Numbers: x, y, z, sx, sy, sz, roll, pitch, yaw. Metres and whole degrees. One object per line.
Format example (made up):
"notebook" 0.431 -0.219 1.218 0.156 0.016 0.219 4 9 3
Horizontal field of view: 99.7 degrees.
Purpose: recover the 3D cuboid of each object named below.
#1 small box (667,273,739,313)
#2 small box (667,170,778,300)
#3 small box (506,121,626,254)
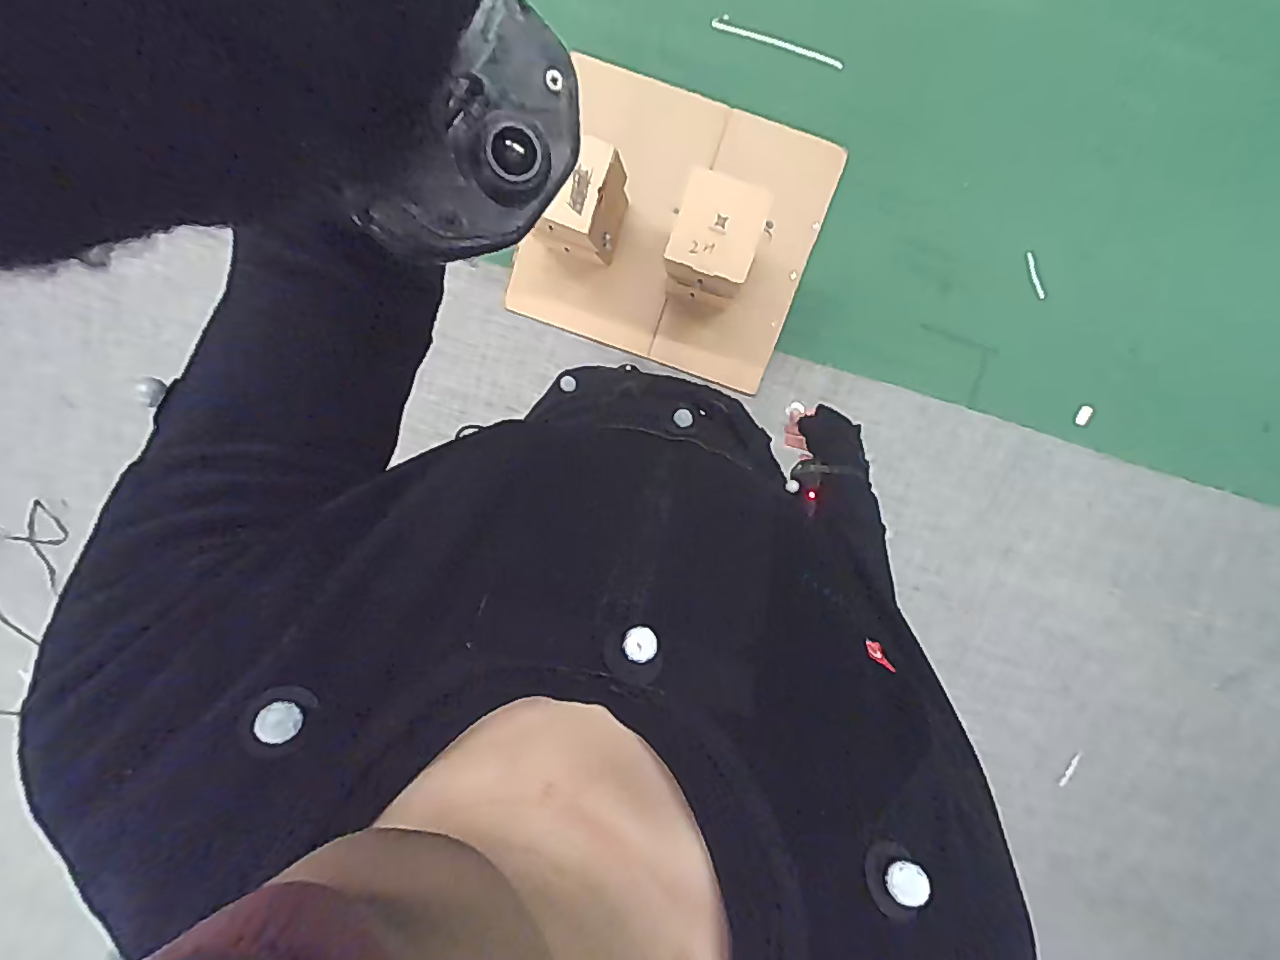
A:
"small box" 0.166 -0.506 1.263 0.168 0.176 0.179 17 103 1
"small box" 0.158 -0.485 1.098 0.168 0.176 0.179 20 102 1
"small box" -0.140 -0.579 1.099 0.179 0.176 0.168 22 102 2
